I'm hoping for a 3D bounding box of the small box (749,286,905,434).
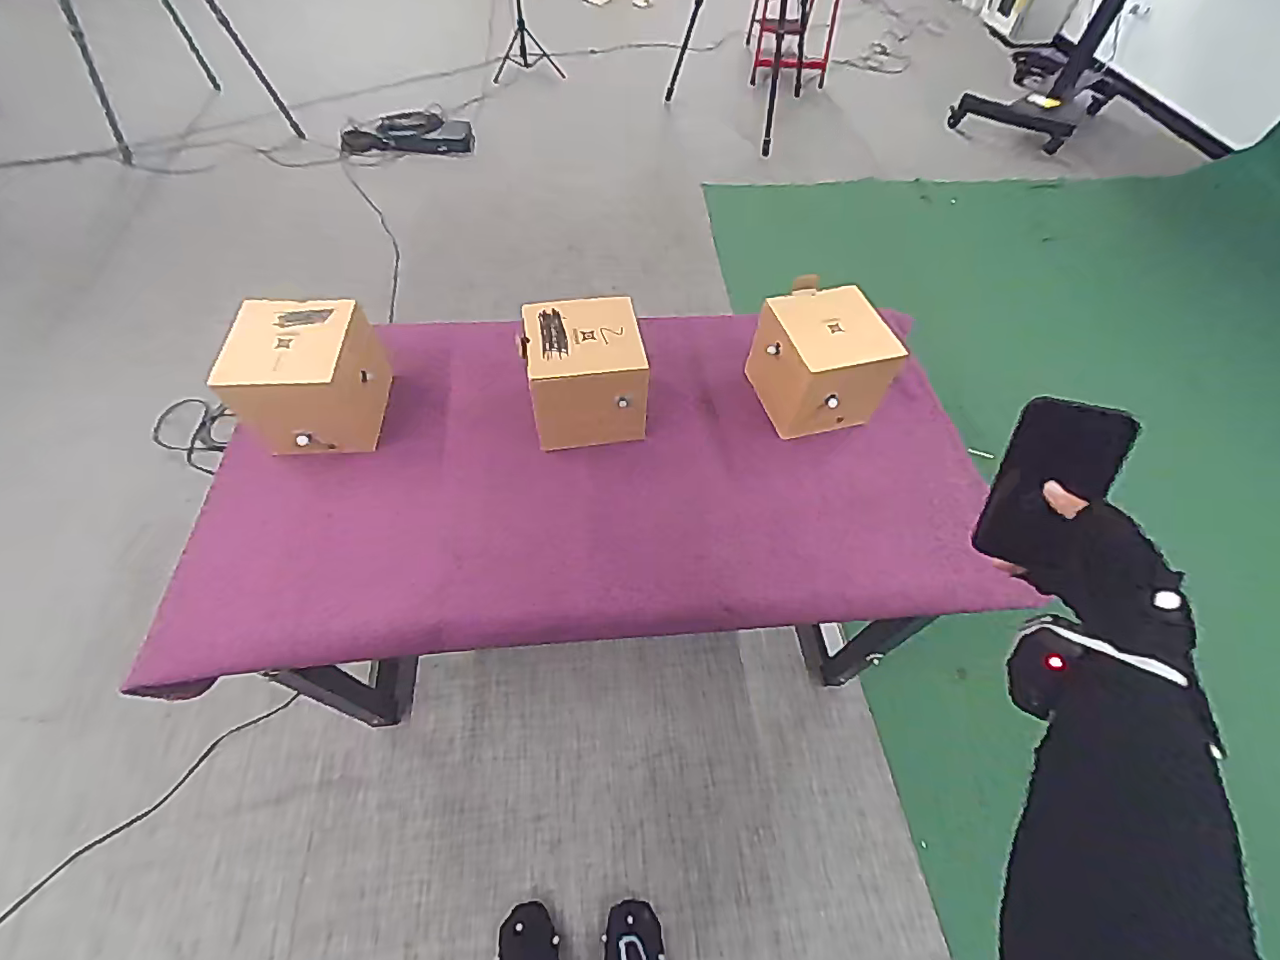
[{"bbox_3d":[0.300,-0.194,0.911,0.168,0.176,0.179,-12,57,-10],"label":"small box"}]

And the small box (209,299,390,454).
[{"bbox_3d":[-0.510,-0.159,0.844,0.168,0.176,0.179,-2,58,-4],"label":"small box"}]
